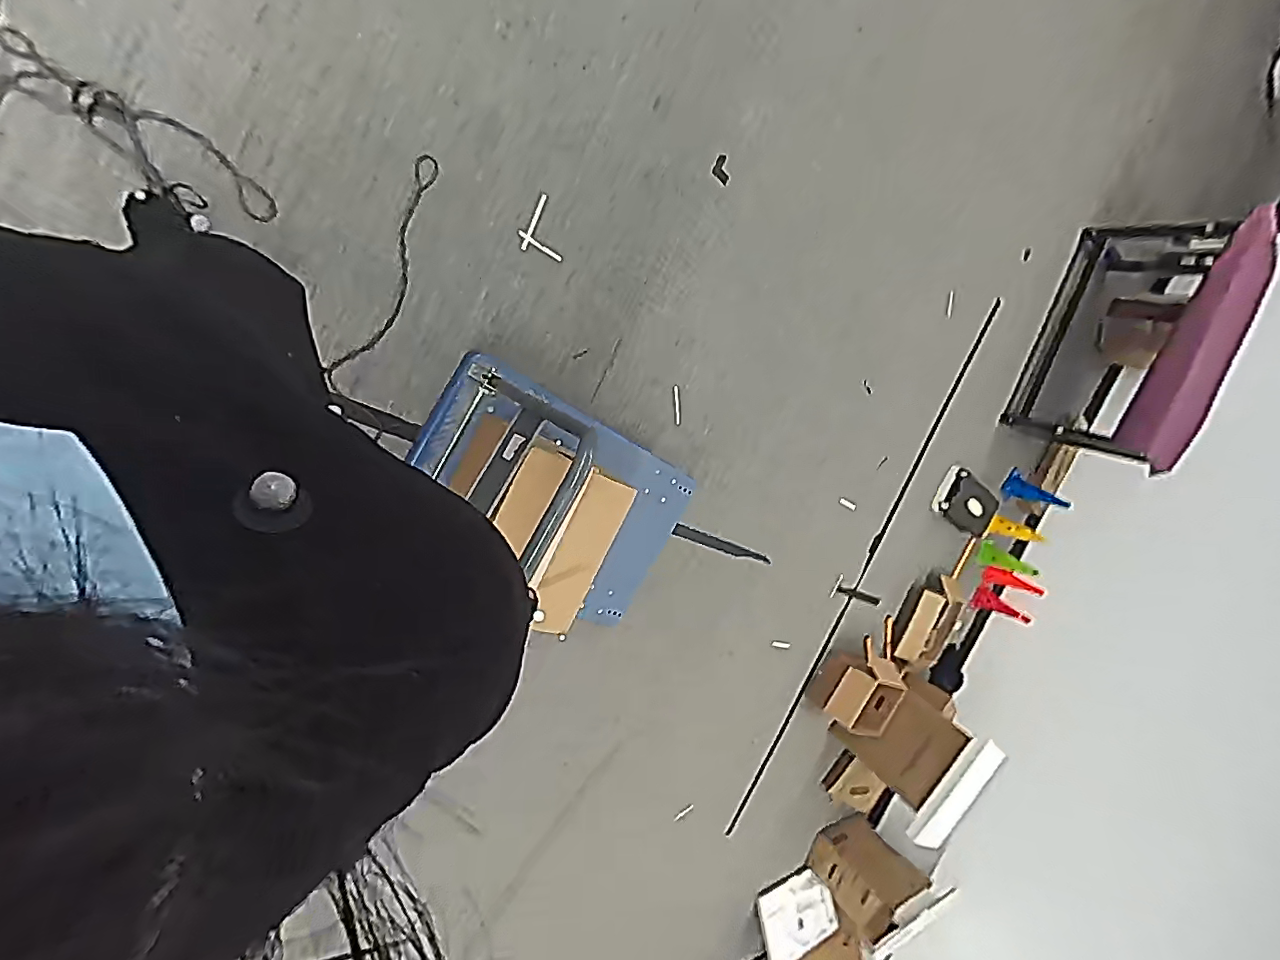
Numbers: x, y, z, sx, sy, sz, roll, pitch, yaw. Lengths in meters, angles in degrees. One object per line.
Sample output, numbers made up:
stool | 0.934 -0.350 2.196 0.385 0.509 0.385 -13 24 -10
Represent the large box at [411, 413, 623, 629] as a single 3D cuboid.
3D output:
large box | -0.313 0.097 1.341 0.320 0.320 0.408 24 95 -39
